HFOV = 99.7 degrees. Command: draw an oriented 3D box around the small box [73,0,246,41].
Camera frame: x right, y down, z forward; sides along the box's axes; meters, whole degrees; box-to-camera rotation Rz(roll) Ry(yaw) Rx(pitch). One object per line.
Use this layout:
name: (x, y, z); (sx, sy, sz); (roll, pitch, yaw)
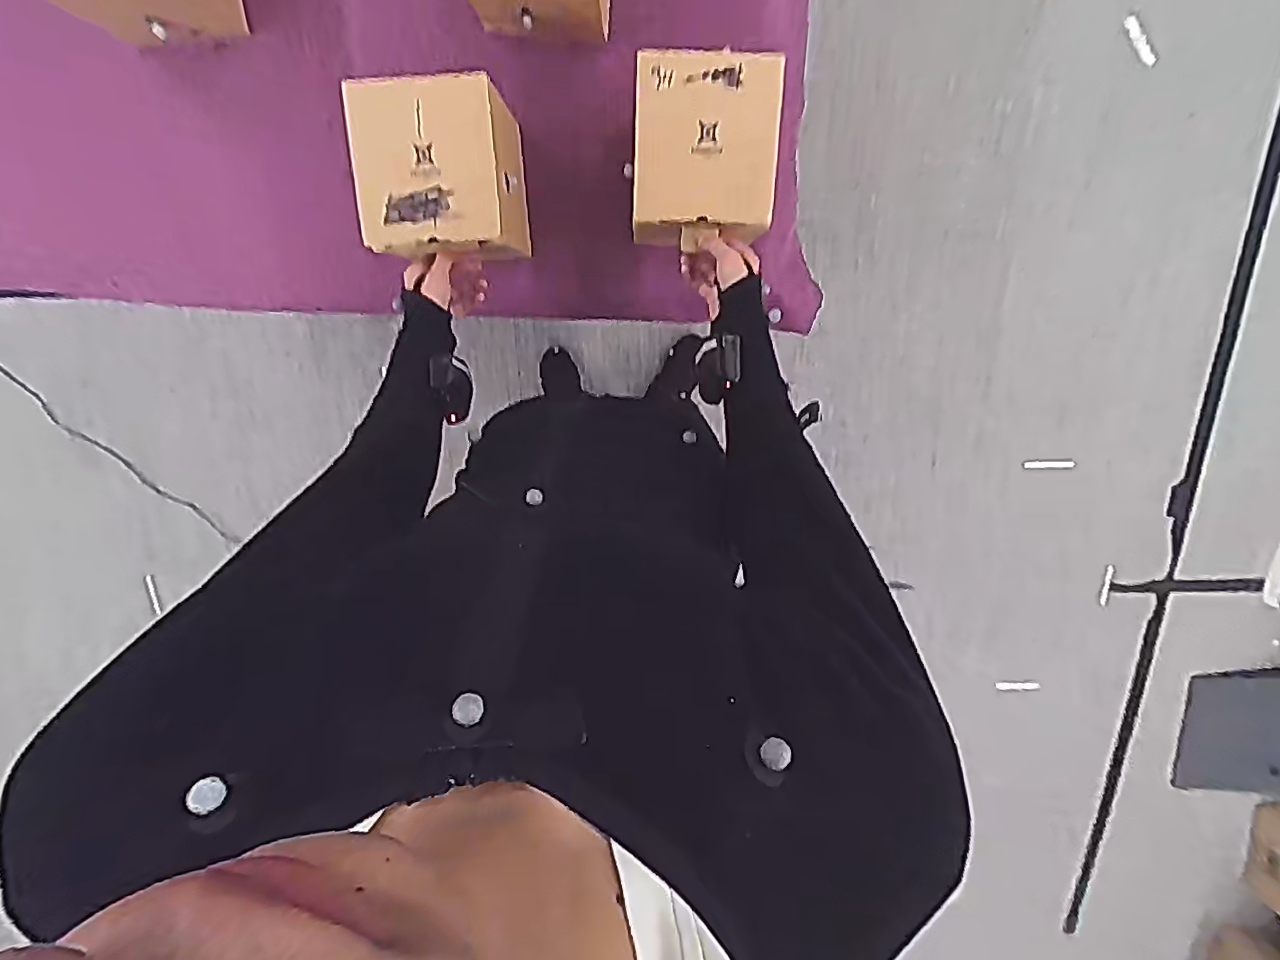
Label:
small box: (-0.605, -0.652, 0.621); (0.168, 0.176, 0.179); (-4, 107, 1)

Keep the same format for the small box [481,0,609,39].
small box: (-0.117, -0.658, 0.621); (0.168, 0.176, 0.179); (6, 108, -1)

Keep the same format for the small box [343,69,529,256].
small box: (-0.245, -0.389, 0.696); (0.168, 0.176, 0.179); (-2, 106, 0)

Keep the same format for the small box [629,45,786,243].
small box: (0.076, -0.409, 0.689); (0.168, 0.176, 0.179); (3, 105, 0)
